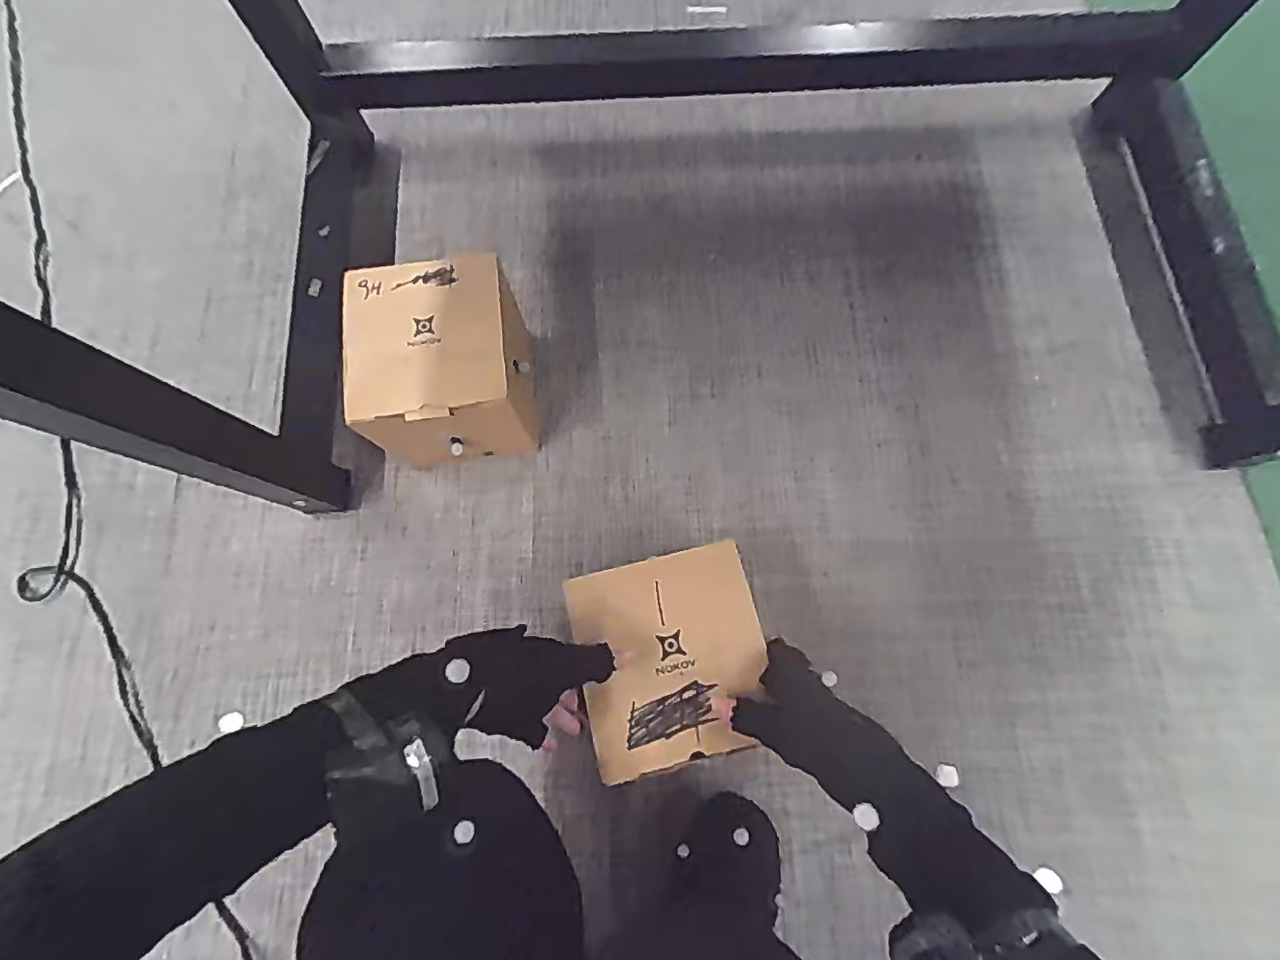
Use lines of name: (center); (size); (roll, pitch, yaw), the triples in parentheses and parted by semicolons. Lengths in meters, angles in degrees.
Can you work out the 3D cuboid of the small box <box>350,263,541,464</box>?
small box: (-0.217, -0.123, 0.641); (0.168, 0.176, 0.179); (-7, 76, -1)
